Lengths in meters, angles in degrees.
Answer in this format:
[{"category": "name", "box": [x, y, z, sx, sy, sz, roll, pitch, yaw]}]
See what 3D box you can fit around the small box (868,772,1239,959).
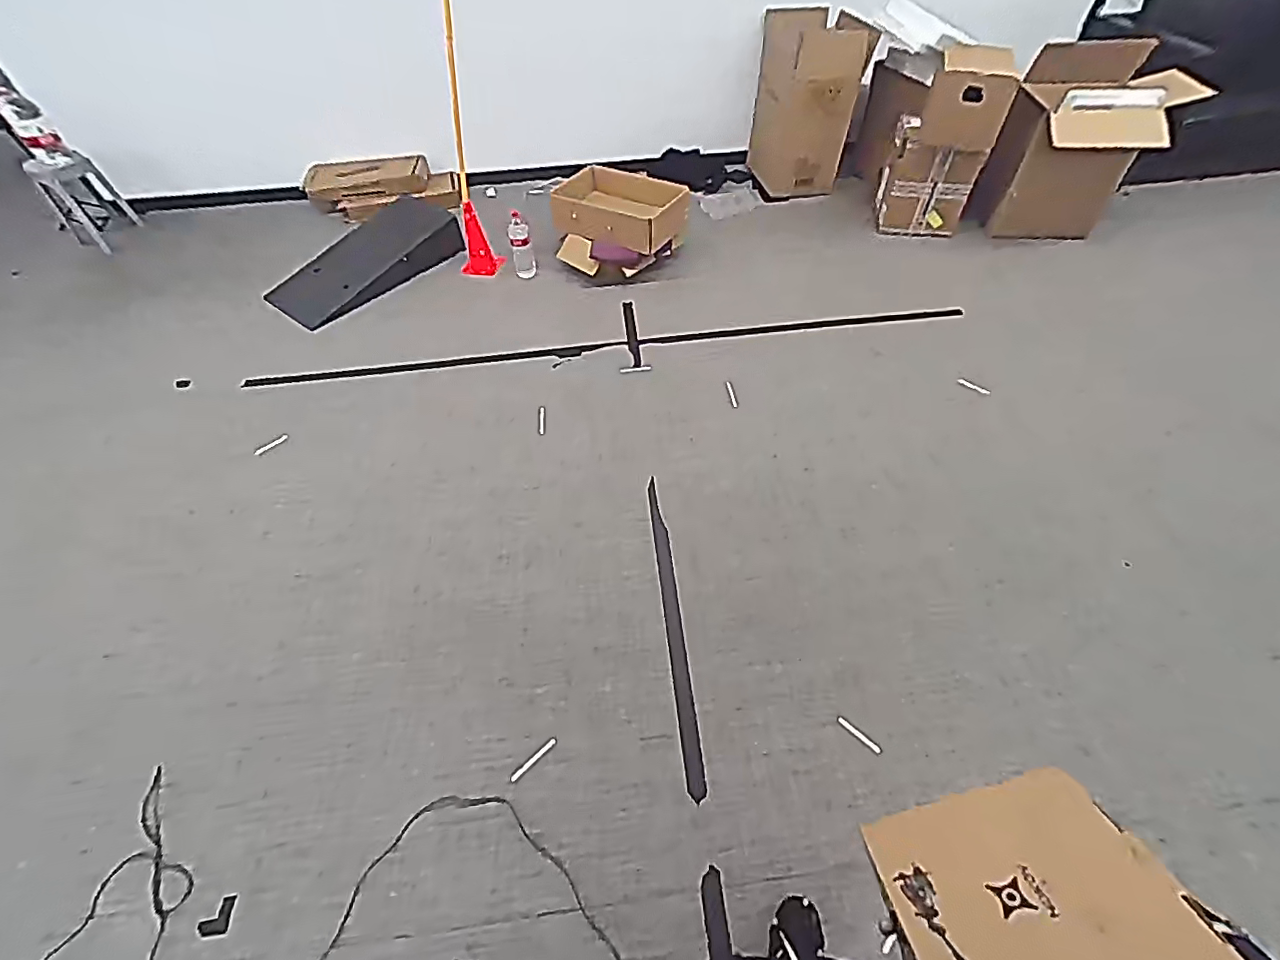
[{"category": "small box", "box": [0.305, 0.370, 0.409, 0.179, 0.176, 0.168, -20, 15, 5]}]
